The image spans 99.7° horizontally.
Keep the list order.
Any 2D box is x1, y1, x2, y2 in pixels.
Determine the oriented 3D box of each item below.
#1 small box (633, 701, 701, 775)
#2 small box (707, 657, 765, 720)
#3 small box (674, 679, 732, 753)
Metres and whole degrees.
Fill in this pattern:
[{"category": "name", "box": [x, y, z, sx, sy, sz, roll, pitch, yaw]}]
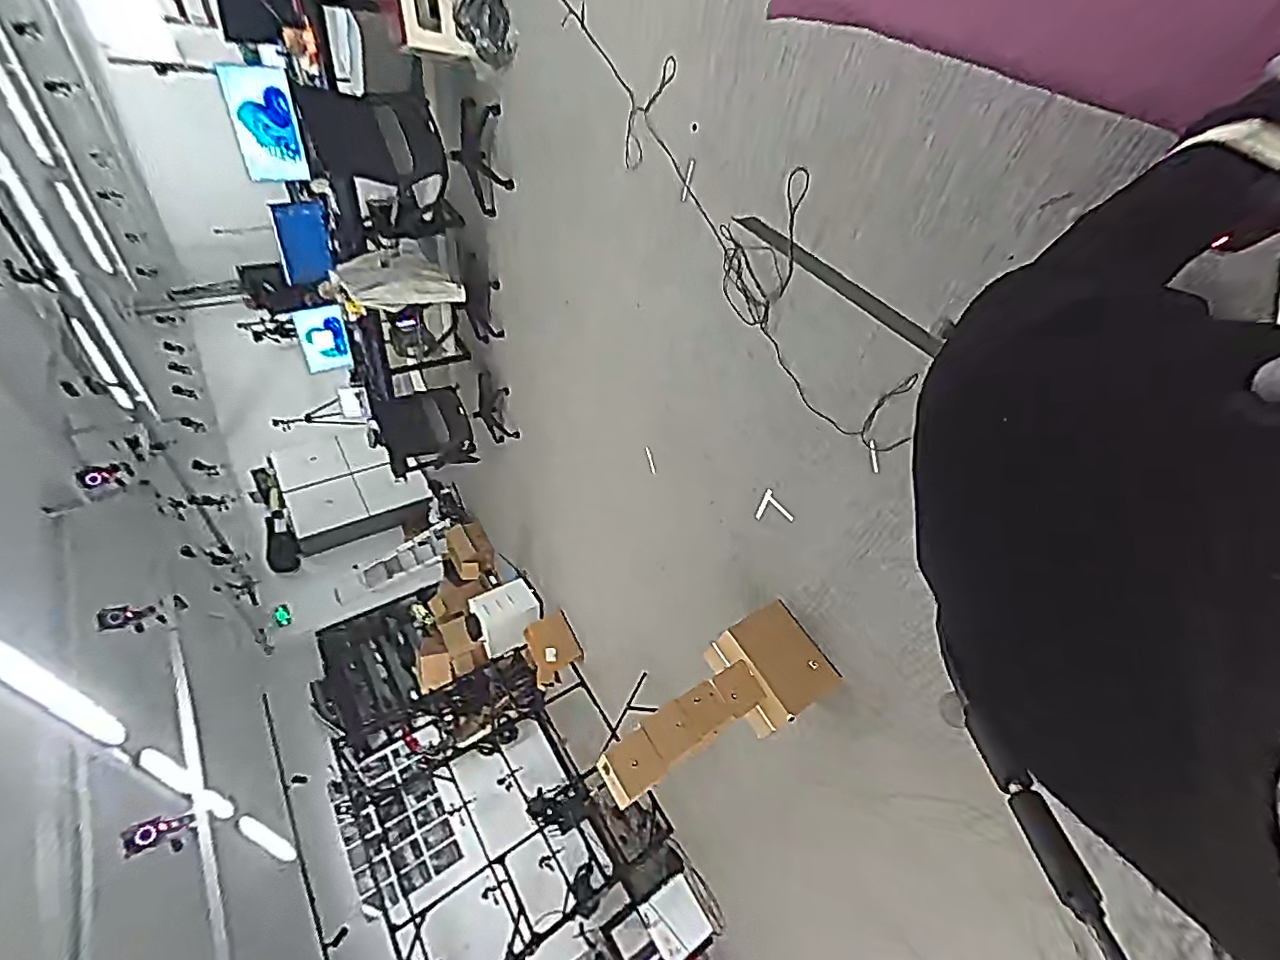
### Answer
[{"category": "small box", "box": [0.098, 0.948, 2.008, 0.179, 0.176, 0.168, 50, 146, 31]}, {"category": "small box", "box": [0.366, 0.839, 2.159, 0.179, 0.176, 0.168, 56, 148, 23]}, {"category": "small box", "box": [0.234, 0.904, 2.087, 0.168, 0.176, 0.179, 46, 144, 36]}]
